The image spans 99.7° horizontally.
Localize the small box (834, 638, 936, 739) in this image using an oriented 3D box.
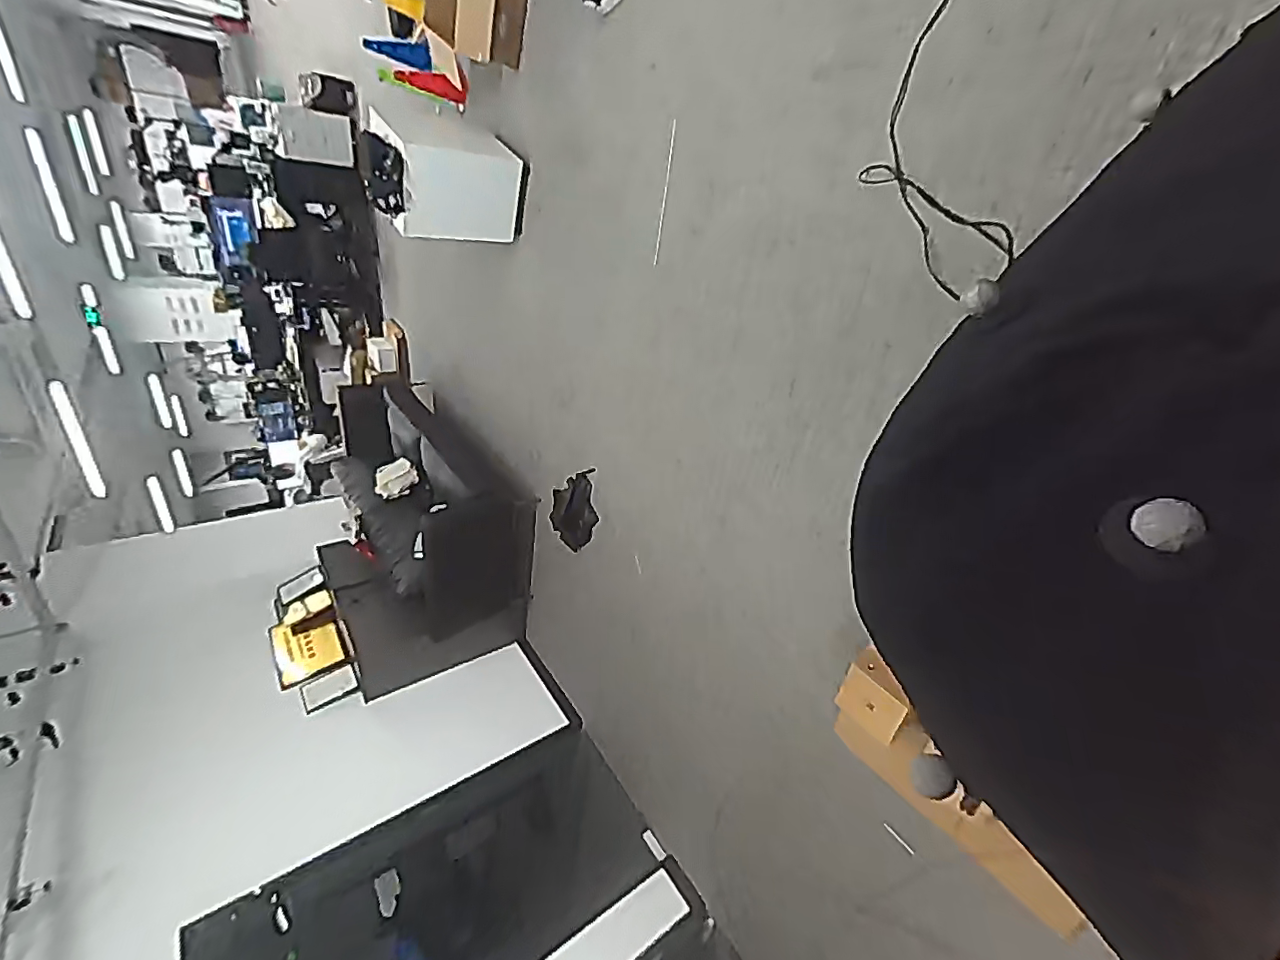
[{"bbox_3d":[0.689,0.576,1.520,0.179,0.176,0.168,39,132,42],"label":"small box"}]
